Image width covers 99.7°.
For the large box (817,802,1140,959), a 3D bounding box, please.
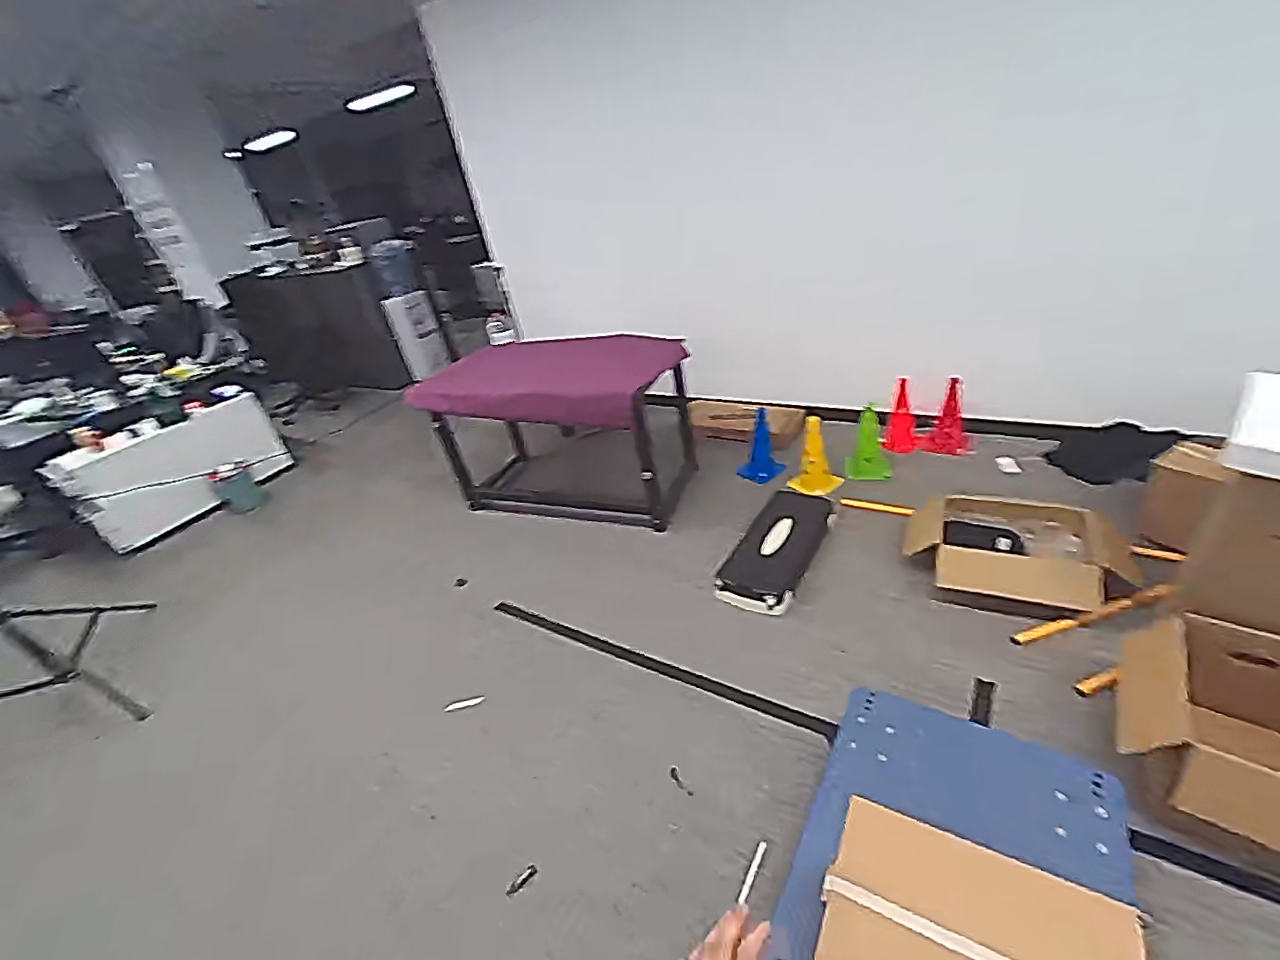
[{"bbox_3d":[0.509,0.820,0.869,0.408,0.320,0.320,10,38,29],"label":"large box"}]
